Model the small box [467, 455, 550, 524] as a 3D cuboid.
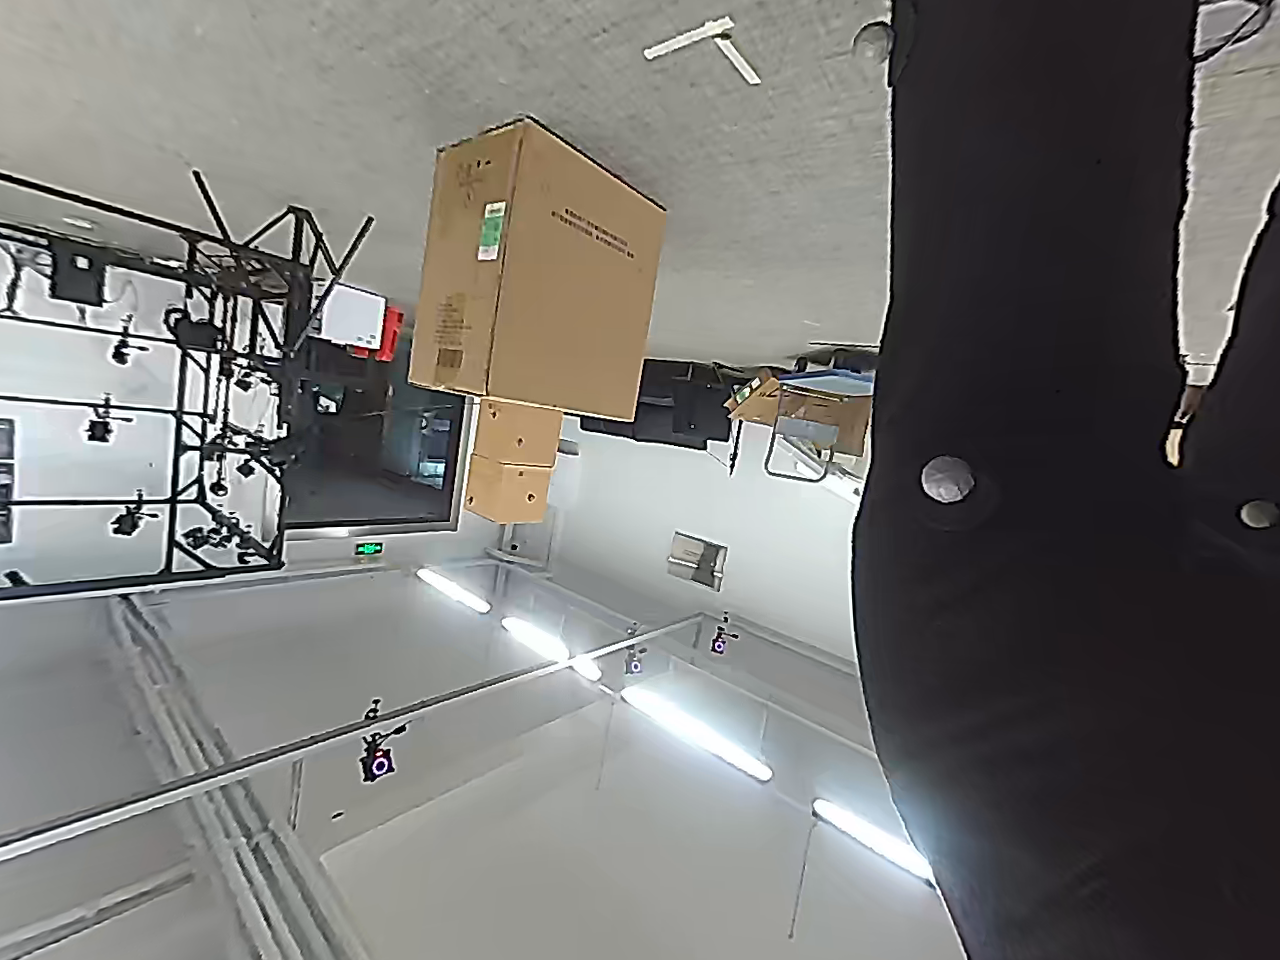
[{"bbox_3d":[-0.376,0.023,1.563,0.179,0.176,0.168,16,-171,41],"label":"small box"}]
